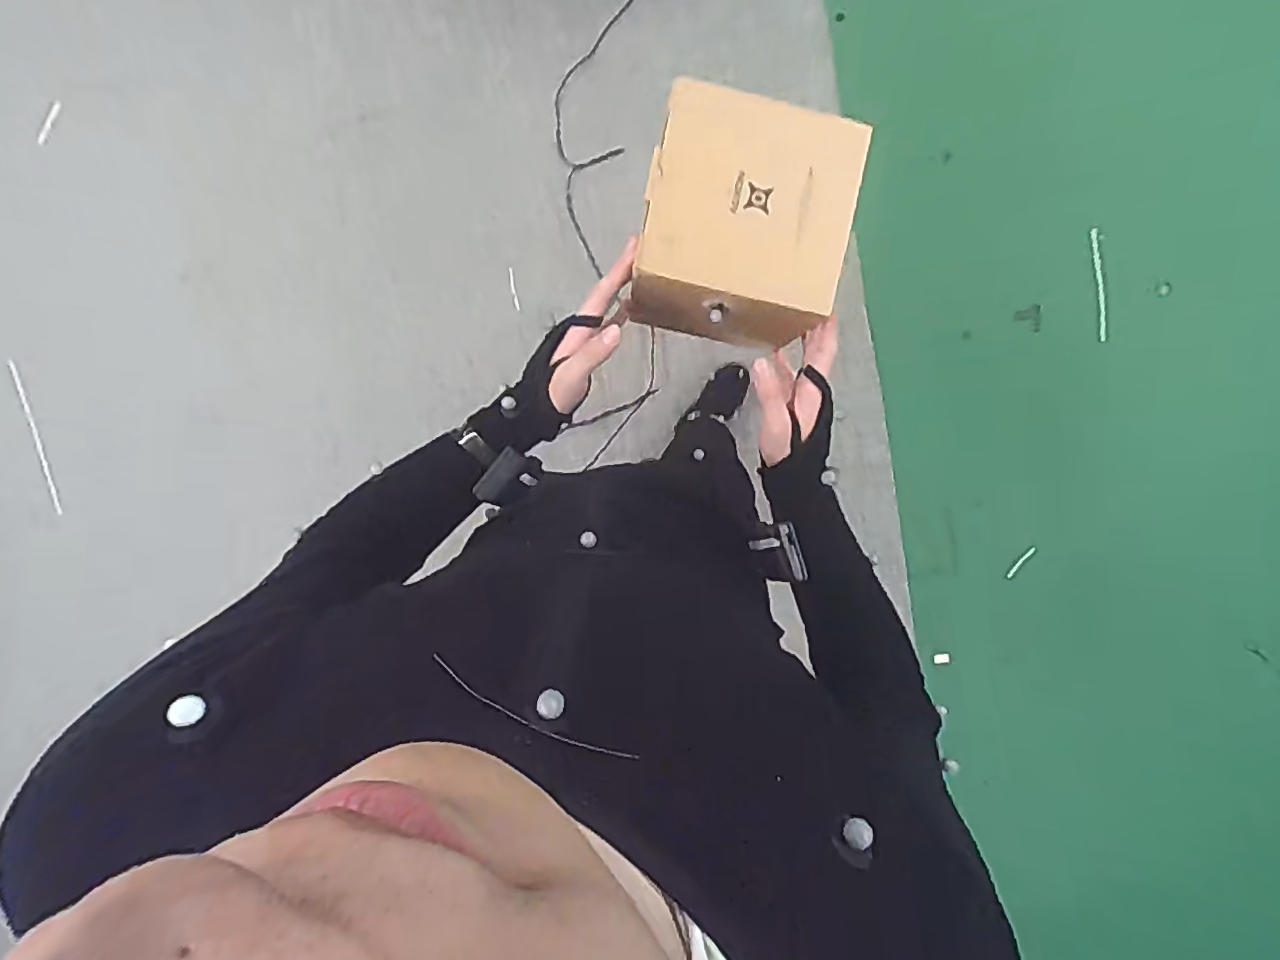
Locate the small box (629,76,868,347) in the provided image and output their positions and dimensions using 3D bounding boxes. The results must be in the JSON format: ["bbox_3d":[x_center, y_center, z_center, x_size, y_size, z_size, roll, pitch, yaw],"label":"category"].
[{"bbox_3d":[0.088,-0.240,0.530,0.179,0.176,0.168,11,91,-3],"label":"small box"}]
